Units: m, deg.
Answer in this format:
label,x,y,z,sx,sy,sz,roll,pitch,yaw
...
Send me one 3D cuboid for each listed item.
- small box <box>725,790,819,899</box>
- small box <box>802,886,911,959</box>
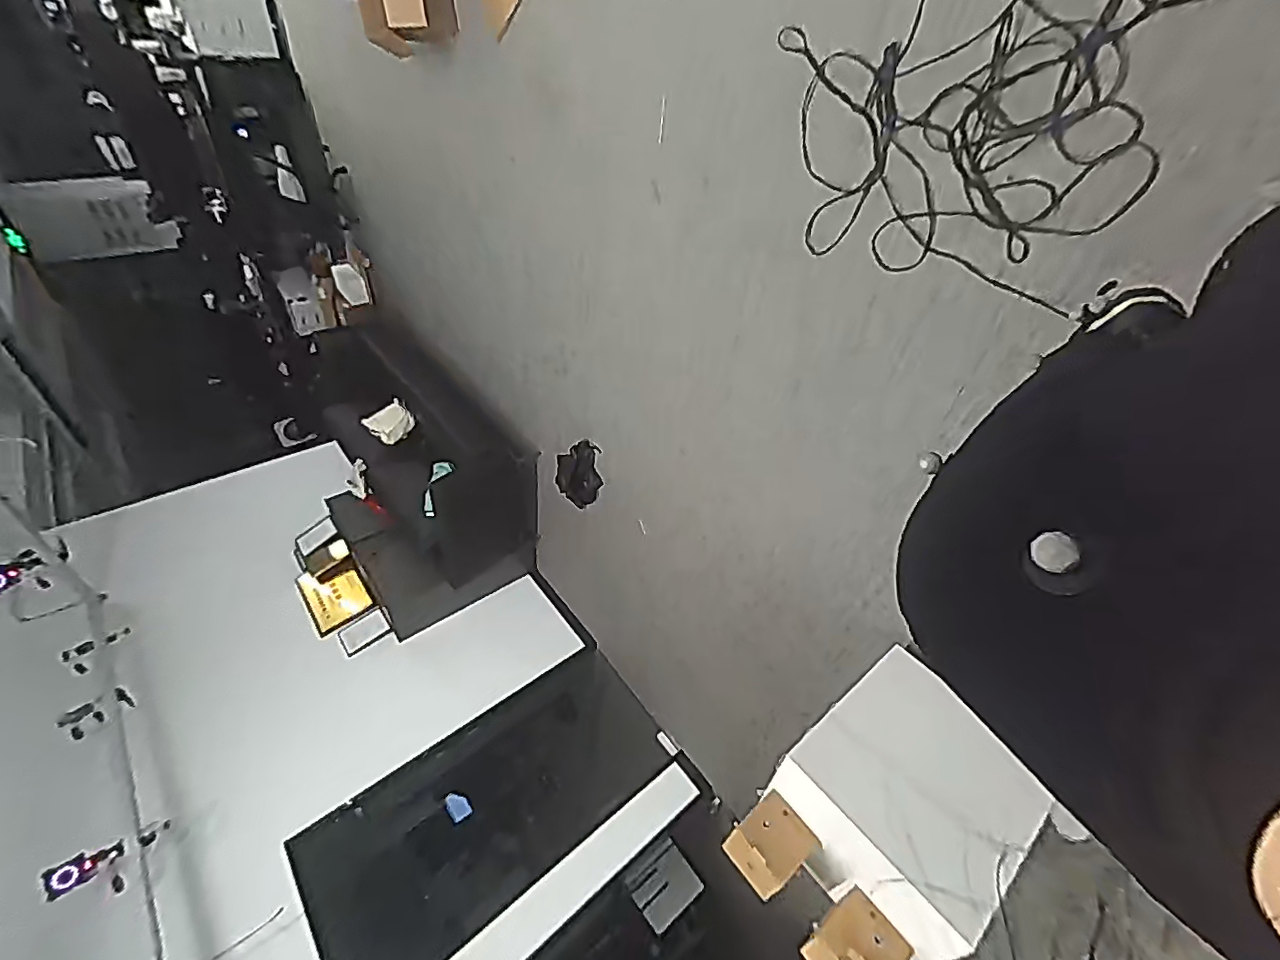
label,x,y,z,sx,sy,sz,roll,pitch,yaw
small box,0.367,1.006,1.501,0.168,0.176,0.179,43,143,32
small box,0.544,1.177,1.357,0.168,0.176,0.179,41,140,35
